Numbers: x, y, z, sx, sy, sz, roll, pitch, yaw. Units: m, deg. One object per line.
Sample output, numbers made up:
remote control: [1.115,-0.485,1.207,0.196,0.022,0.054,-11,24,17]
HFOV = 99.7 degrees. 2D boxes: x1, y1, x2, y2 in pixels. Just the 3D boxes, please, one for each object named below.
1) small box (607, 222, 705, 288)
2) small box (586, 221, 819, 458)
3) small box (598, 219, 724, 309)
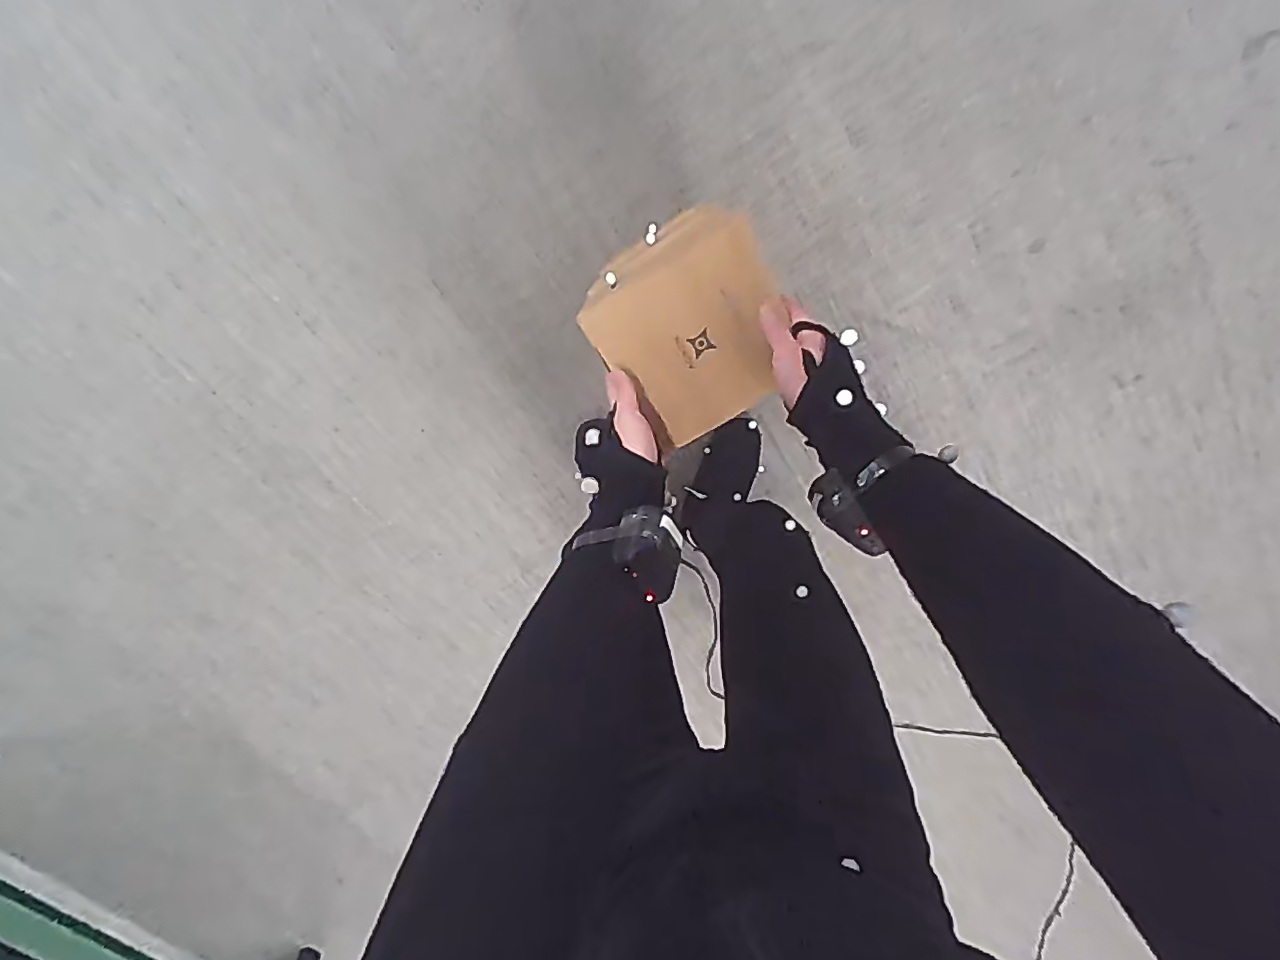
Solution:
small box: [0.063,-0.300,0.889,0.168,0.176,0.179,-31,111,11]
small box: [0.061,-0.156,0.594,0.179,0.176,0.168,-31,111,10]
small box: [0.060,-0.230,0.739,0.179,0.176,0.168,-31,110,12]
